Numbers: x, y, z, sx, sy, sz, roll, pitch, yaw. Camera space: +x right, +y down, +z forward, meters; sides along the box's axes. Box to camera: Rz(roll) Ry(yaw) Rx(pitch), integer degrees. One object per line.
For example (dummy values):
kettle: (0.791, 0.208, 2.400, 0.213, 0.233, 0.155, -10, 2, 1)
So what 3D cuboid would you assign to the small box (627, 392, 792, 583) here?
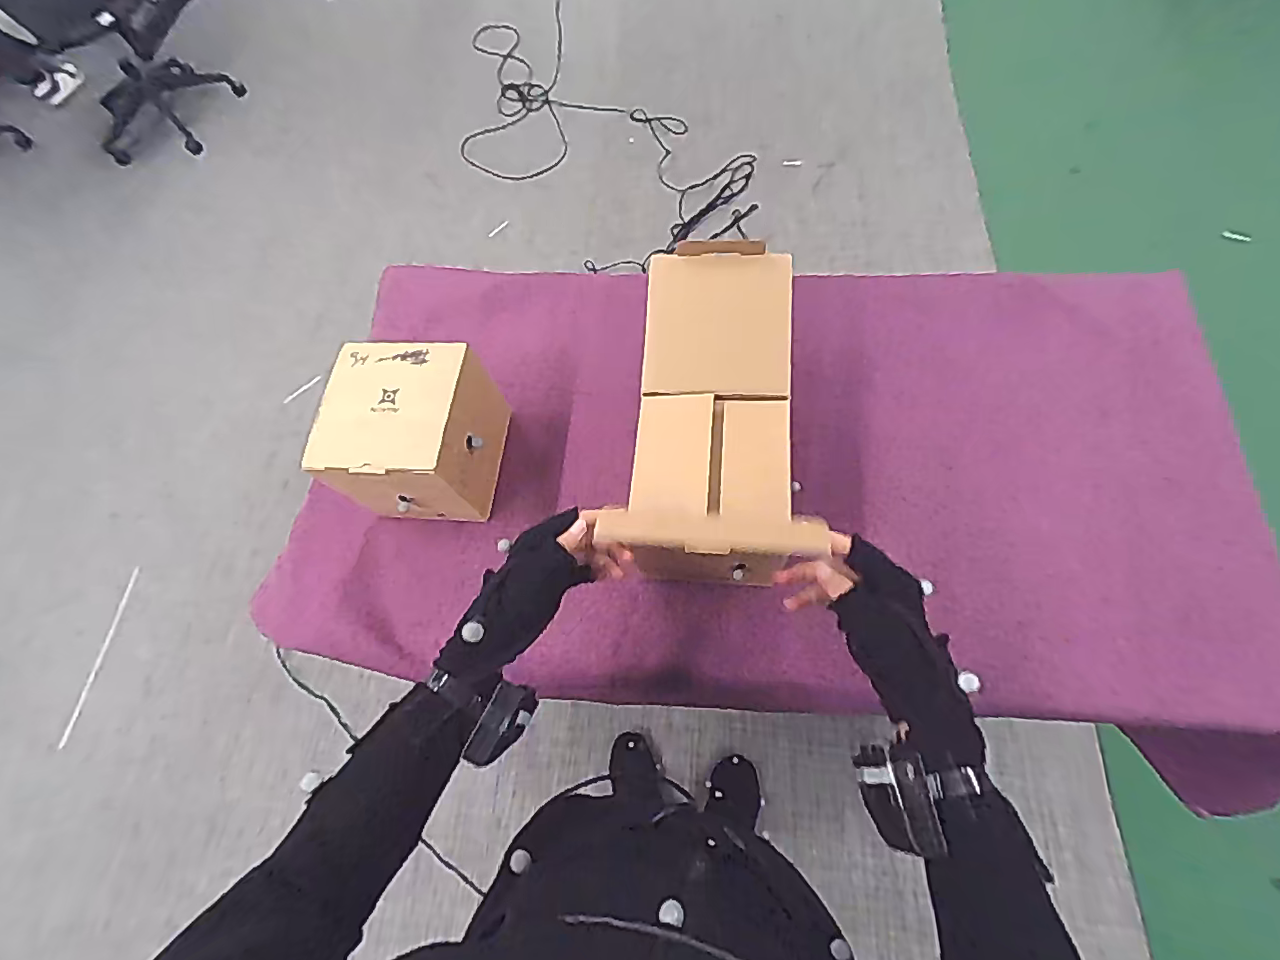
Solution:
small box: (0.084, 0.017, 0.636, 0.168, 0.176, 0.179, 3, 66, 7)

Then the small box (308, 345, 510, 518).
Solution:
small box: (-0.284, -0.056, 0.709, 0.168, 0.176, 0.179, 2, 67, 7)
